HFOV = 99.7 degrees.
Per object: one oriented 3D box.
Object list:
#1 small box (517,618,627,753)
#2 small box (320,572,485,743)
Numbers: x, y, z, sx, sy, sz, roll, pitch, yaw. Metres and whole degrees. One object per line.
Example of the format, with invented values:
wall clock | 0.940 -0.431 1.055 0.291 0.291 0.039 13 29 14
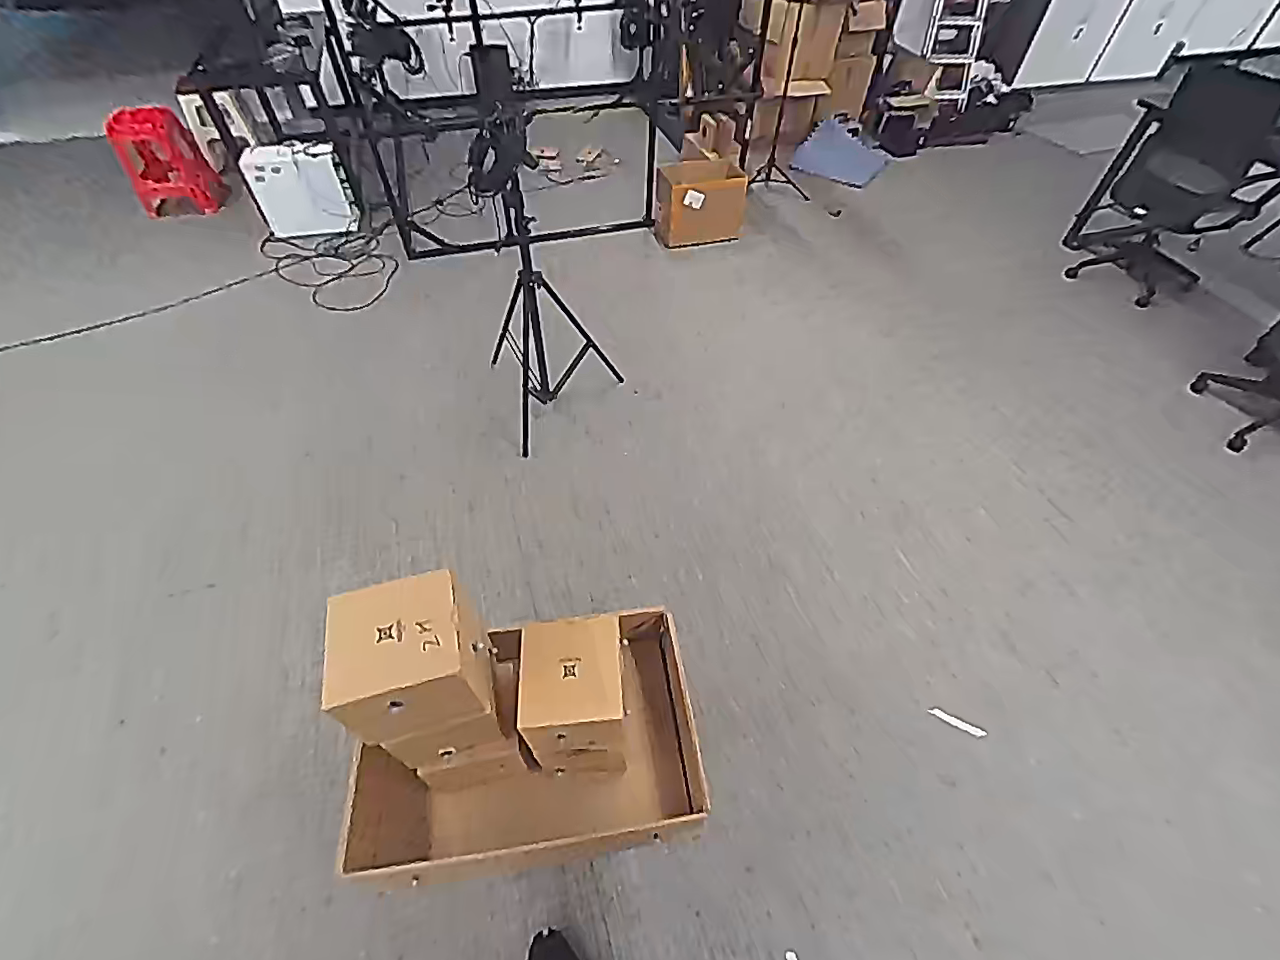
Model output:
small box | -0.112 0.362 0.940 0.168 0.176 0.179 -4 50 -3
small box | -0.341 0.266 0.801 0.179 0.176 0.168 -12 52 -12
